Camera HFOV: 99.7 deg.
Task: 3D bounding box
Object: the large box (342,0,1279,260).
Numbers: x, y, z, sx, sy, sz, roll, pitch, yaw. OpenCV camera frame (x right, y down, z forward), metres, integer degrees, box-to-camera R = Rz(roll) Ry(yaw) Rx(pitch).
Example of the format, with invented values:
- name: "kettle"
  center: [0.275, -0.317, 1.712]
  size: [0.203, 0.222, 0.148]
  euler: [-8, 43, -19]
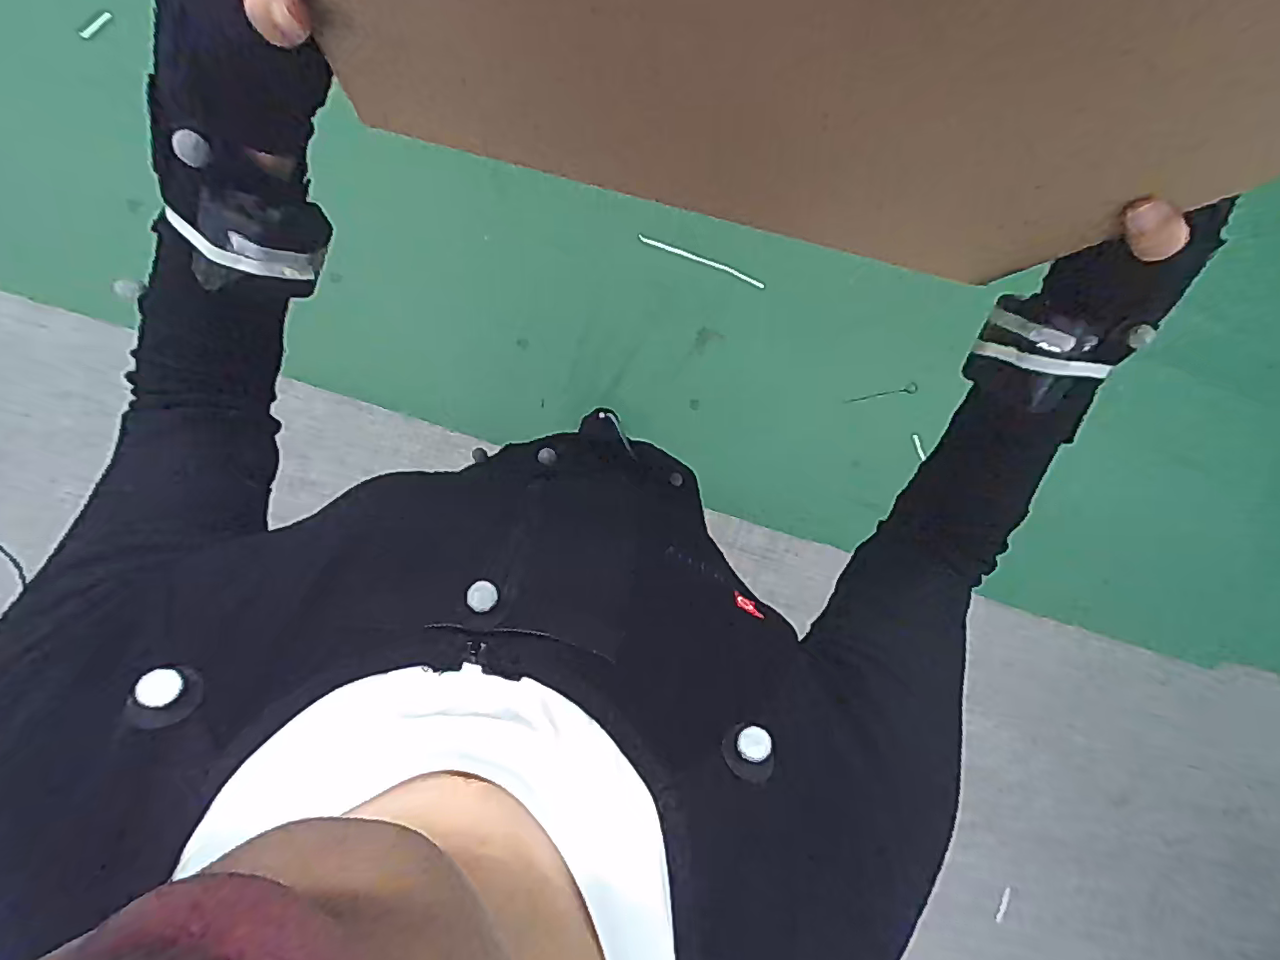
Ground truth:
- name: "large box"
  center: [0.102, -0.314, 0.183]
  size: [0.408, 0.320, 0.320]
  euler: [9, 93, -12]
